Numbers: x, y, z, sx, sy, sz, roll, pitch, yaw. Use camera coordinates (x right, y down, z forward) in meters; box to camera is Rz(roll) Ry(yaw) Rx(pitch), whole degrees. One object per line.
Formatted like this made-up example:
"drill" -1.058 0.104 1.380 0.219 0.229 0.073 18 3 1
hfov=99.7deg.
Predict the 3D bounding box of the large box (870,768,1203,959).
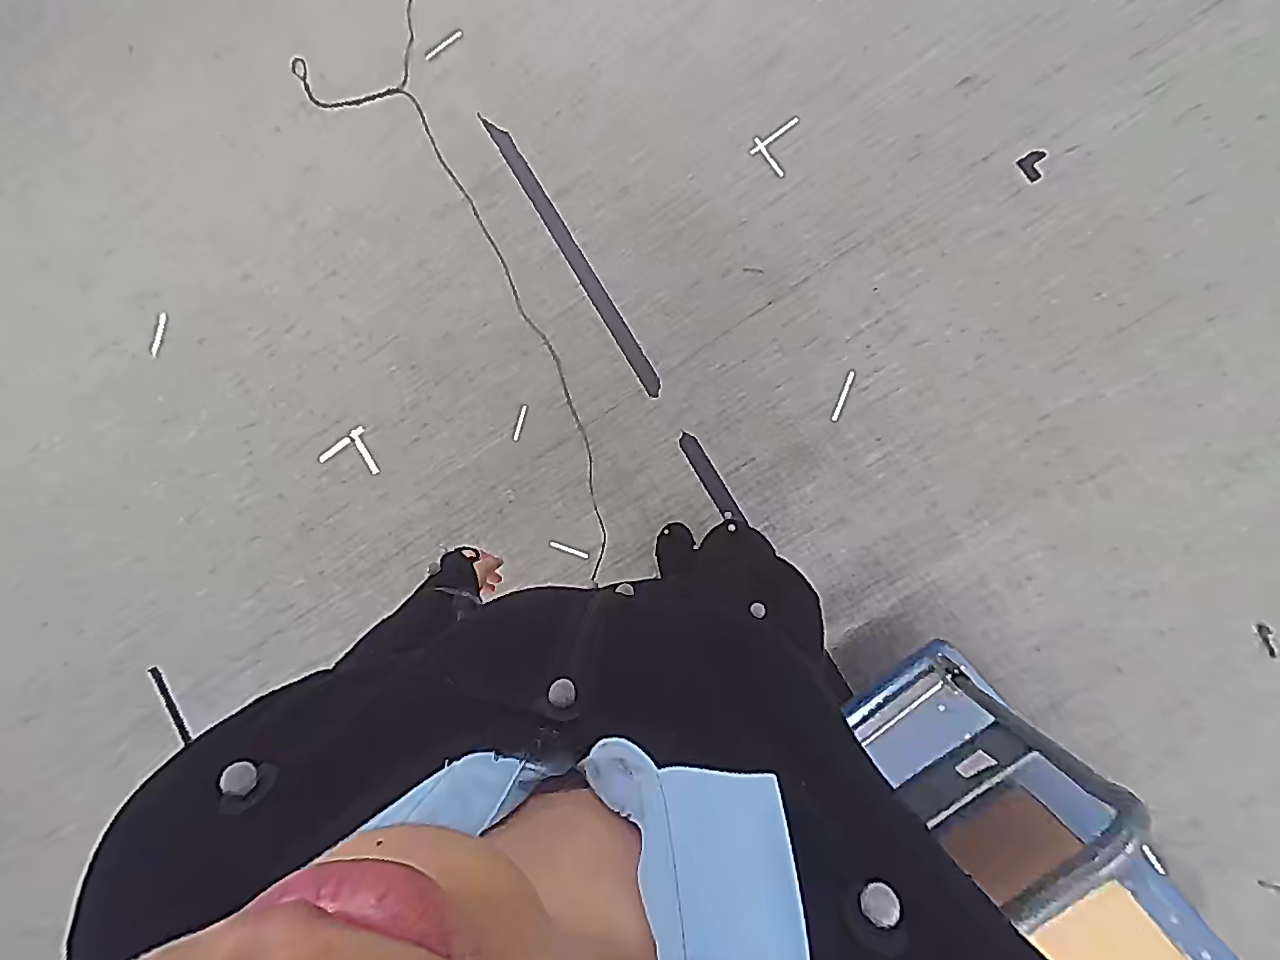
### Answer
"large box" 0.731 0.859 1.033 0.408 0.320 0.320 -40 82 4
